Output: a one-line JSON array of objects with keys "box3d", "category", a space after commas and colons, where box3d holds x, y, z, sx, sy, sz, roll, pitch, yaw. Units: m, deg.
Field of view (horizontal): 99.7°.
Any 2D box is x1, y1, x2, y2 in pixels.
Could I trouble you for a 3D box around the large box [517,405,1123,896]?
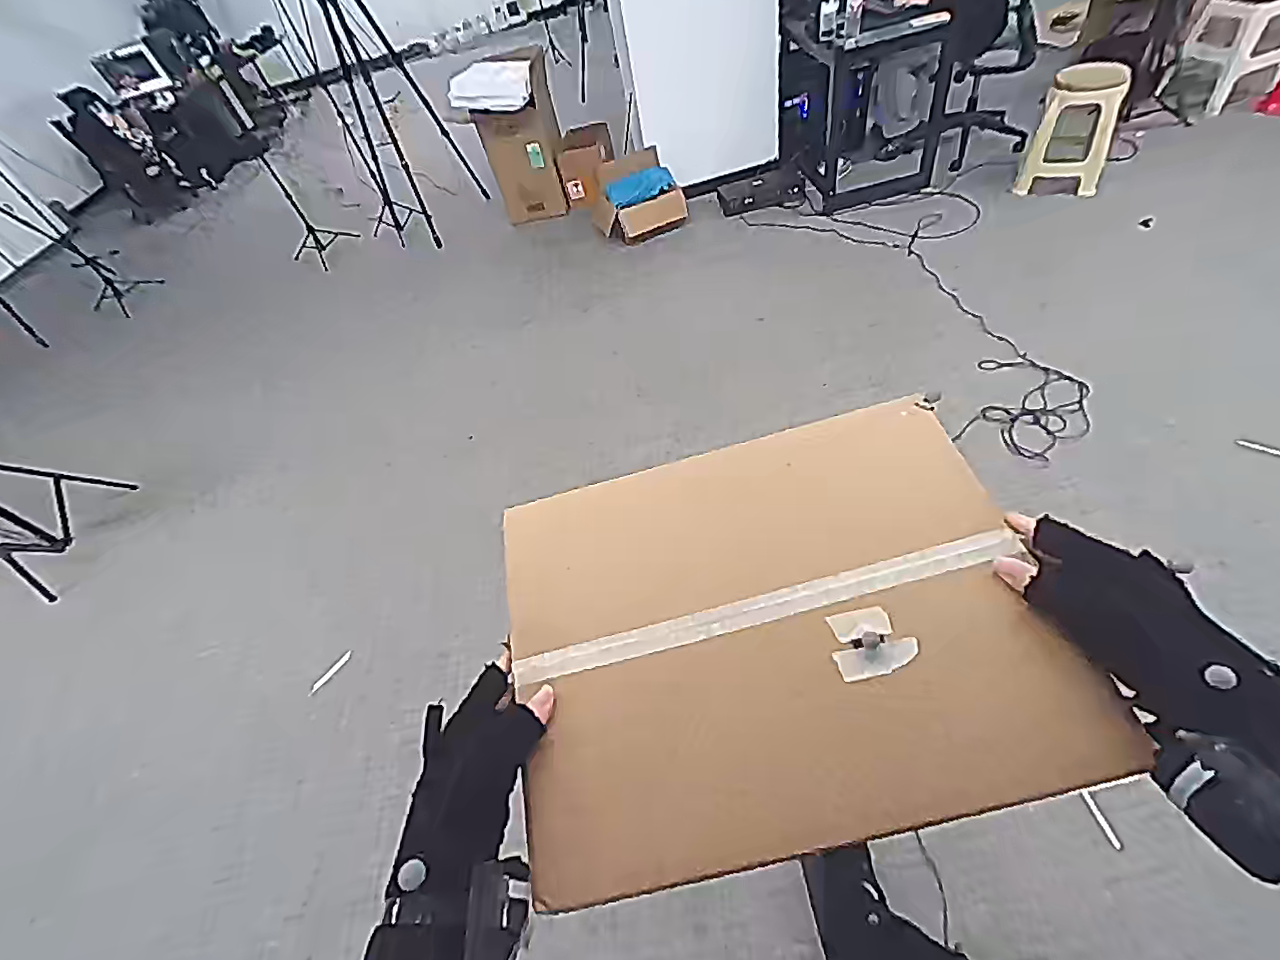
[{"box3d": [0.125, 0.183, 0.566, 0.408, 0.320, 0.320, -16, 57, 3], "category": "large box"}]
